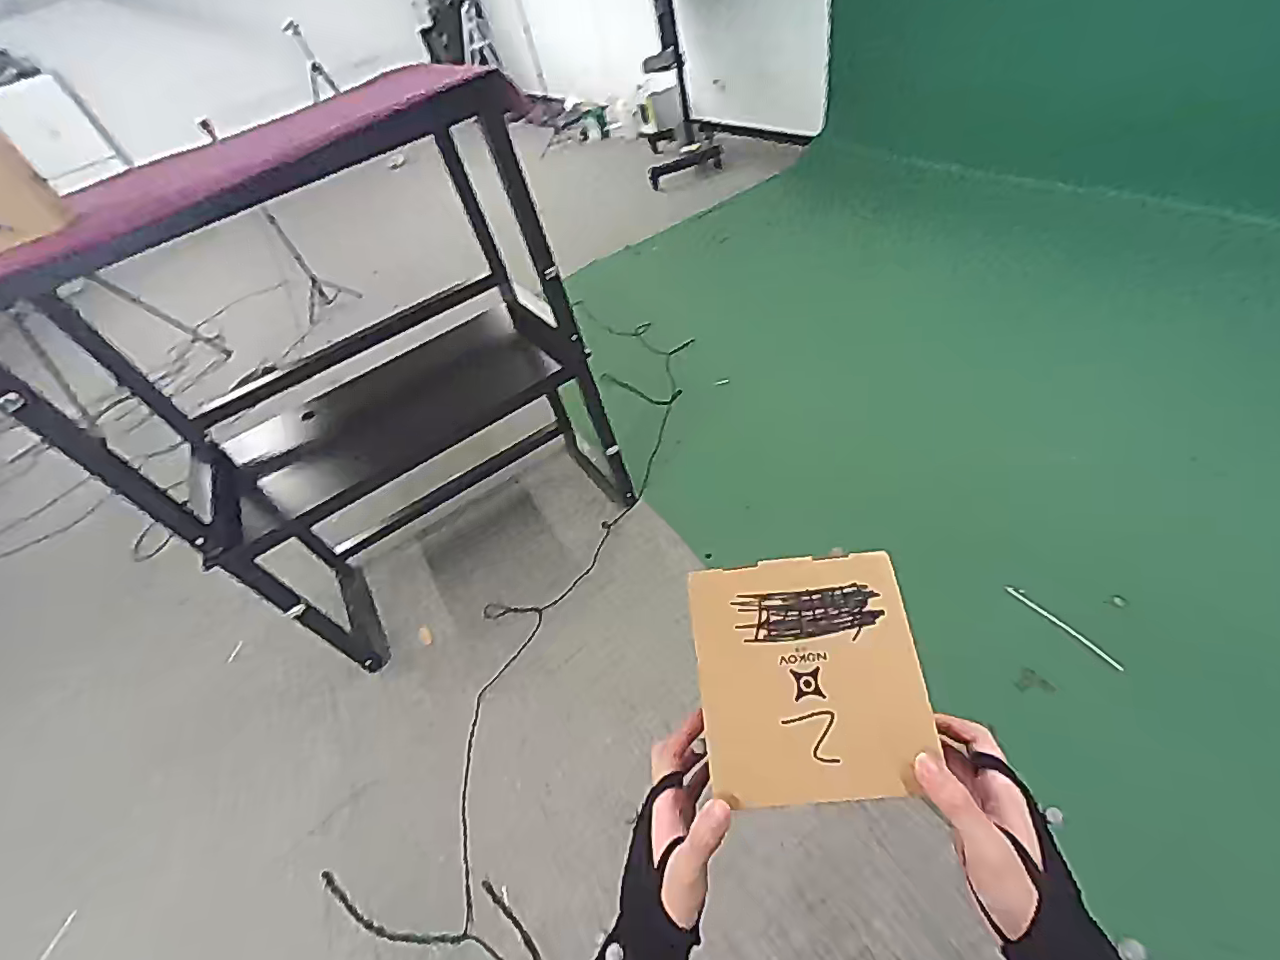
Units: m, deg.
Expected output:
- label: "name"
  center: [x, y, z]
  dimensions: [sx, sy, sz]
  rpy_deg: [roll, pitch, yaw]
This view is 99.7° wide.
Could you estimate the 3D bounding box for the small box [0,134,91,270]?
- label: "small box"
  center: [-1.188, -0.513, 1.002]
  dimensions: [0.179, 0.176, 0.168]
  rpy_deg: [-34, 45, -16]
